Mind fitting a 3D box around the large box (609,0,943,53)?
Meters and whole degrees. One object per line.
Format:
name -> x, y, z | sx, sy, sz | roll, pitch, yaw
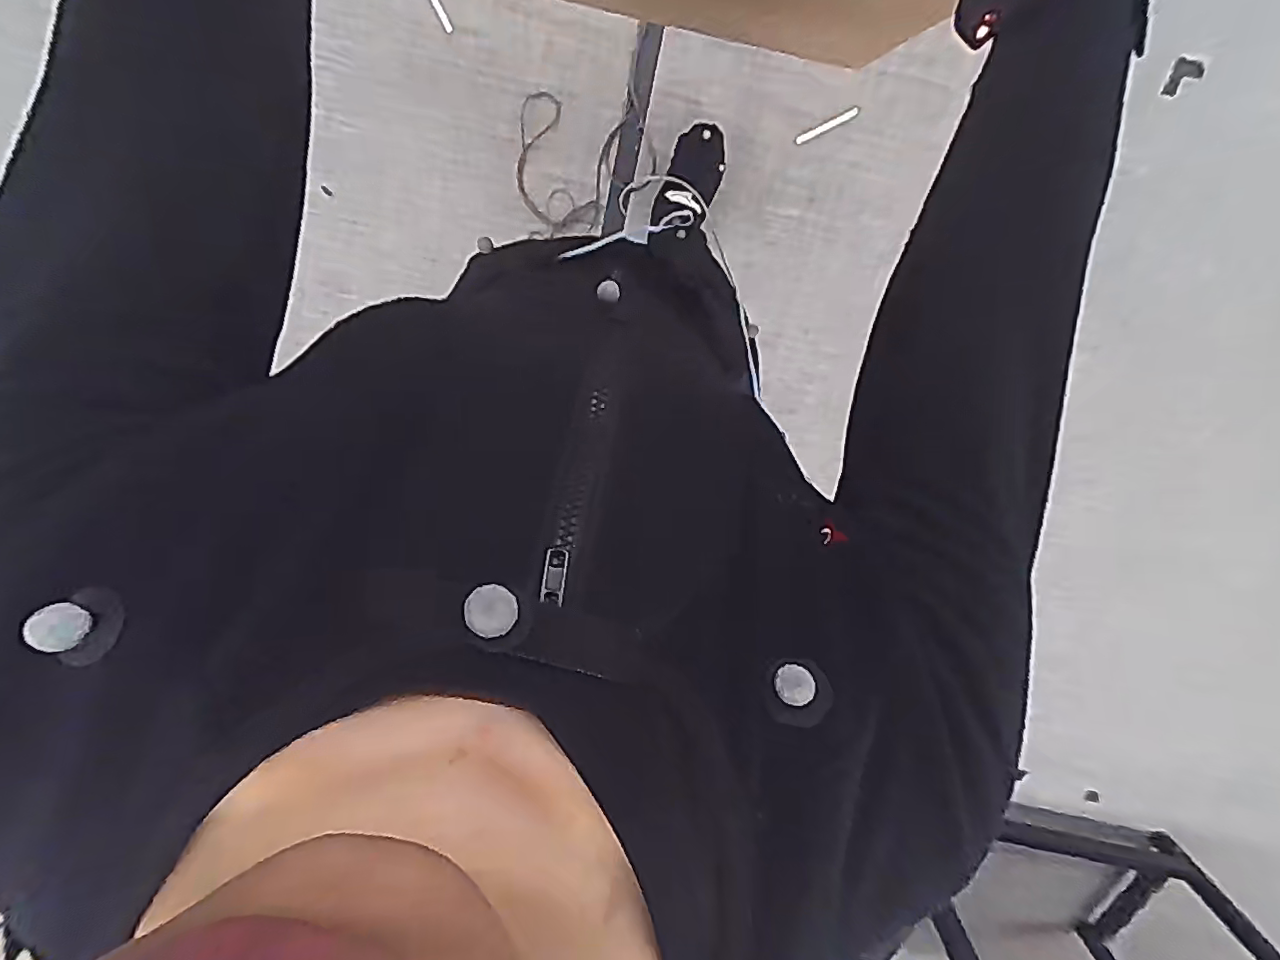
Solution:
large box -> 0.076, -0.563, 0.387 | 0.408, 0.320, 0.320 | 10, 120, -3
